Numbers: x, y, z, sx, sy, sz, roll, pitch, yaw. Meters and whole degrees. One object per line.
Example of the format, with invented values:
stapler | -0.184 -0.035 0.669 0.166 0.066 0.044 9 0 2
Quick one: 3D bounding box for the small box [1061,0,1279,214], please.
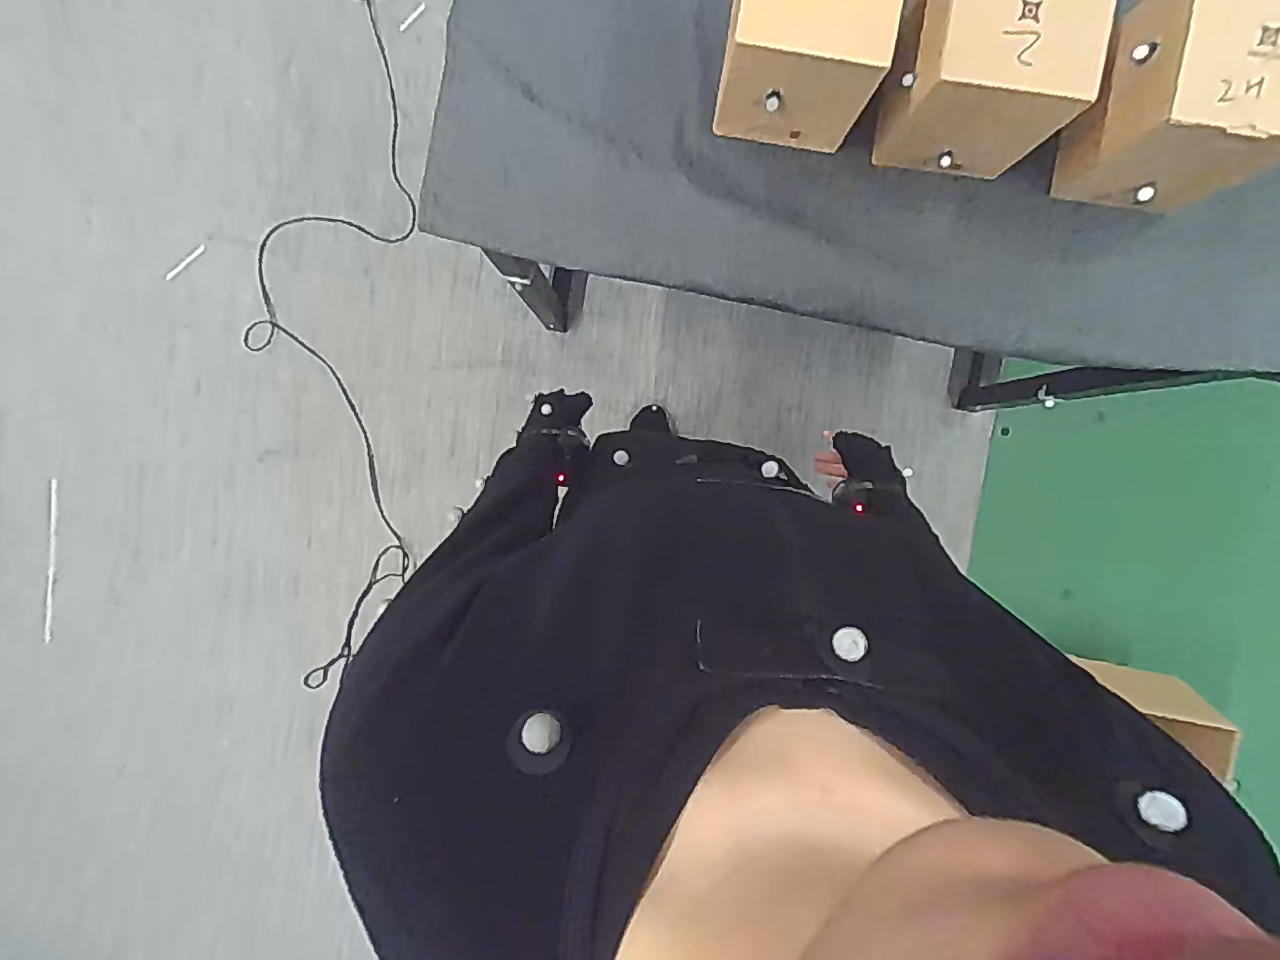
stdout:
small box | 0.638 -0.443 0.628 0.168 0.176 0.179 9 93 1
